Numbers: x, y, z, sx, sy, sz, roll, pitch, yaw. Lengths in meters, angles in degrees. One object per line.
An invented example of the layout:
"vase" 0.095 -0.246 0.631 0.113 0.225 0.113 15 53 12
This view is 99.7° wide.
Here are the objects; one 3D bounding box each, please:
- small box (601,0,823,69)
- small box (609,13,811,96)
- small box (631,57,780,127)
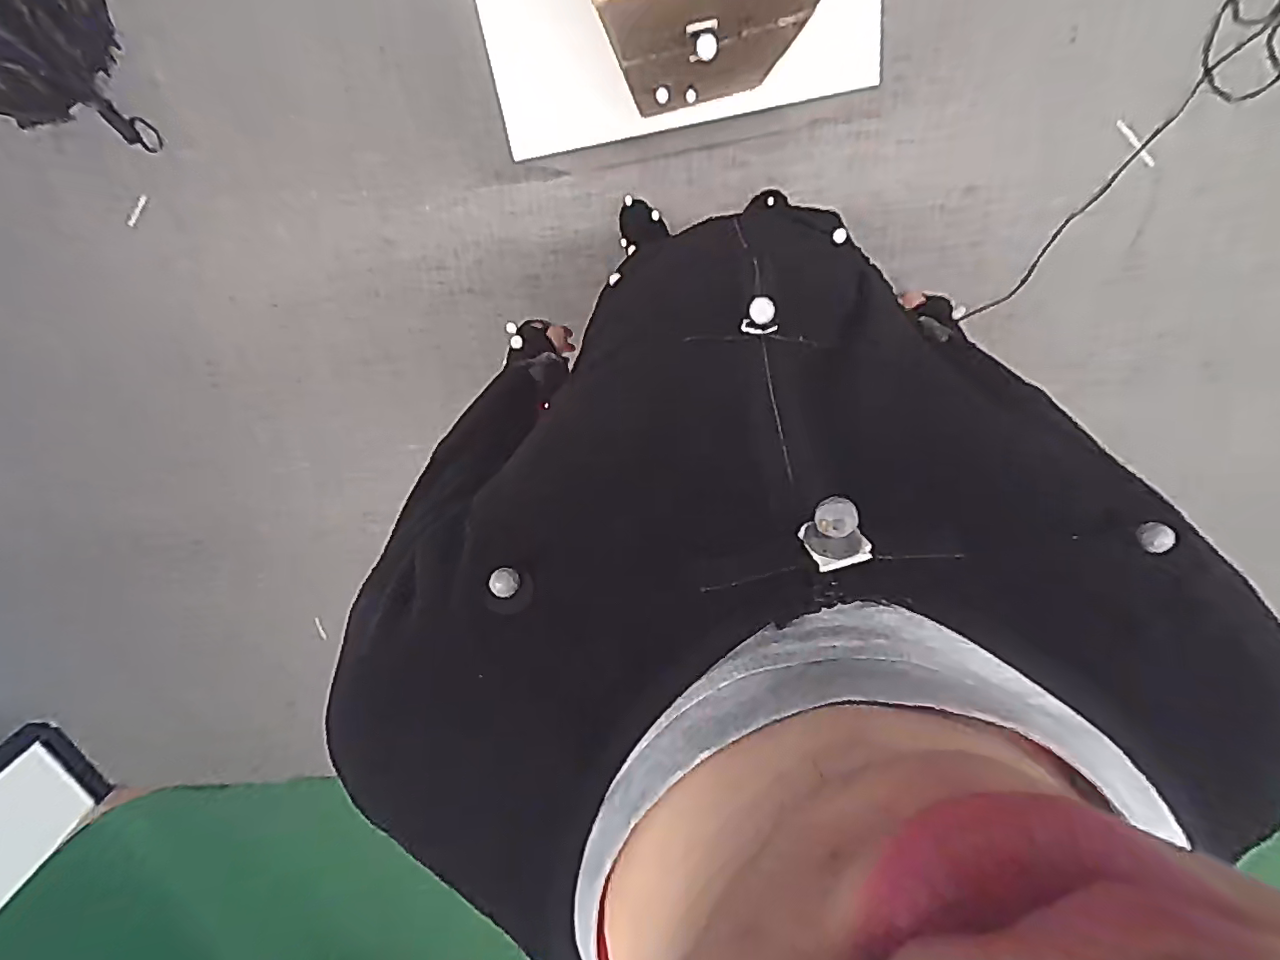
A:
"small box" 0.040 -0.398 0.335 0.168 0.176 0.179 -10 116 9
"small box" 0.049 -0.469 0.482 0.168 0.176 0.179 -10 114 8
"small box" 0.058 -0.542 0.630 0.168 0.176 0.179 -11 115 9
